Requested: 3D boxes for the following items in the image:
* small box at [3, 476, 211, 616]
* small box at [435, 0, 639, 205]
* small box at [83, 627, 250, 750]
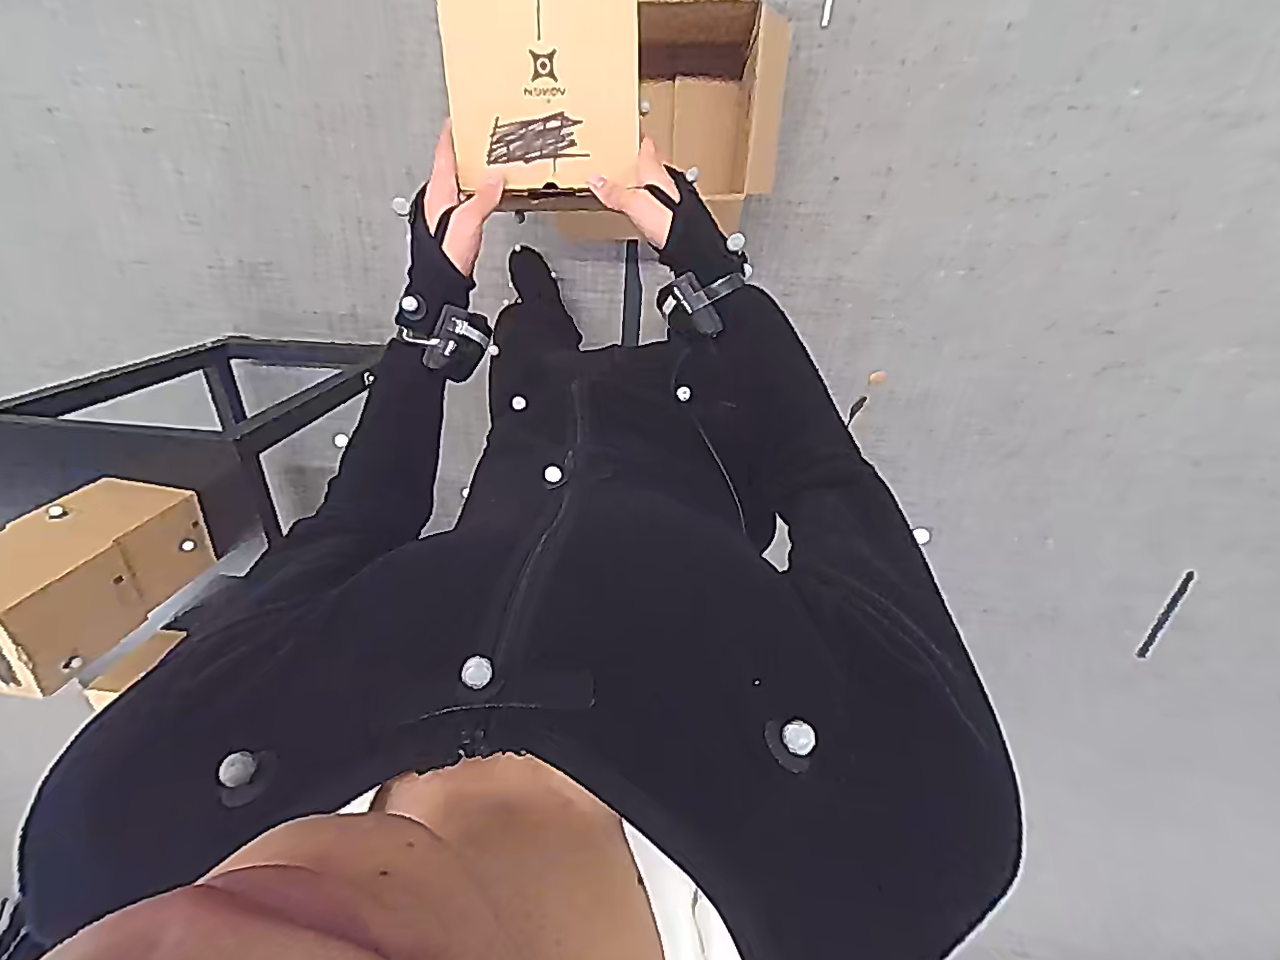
[{"bbox_3d":[-0.919,0.109,0.954,0.179,0.176,0.168,9,119,1],"label":"small box"},{"bbox_3d":[-0.086,-0.371,0.527,0.168,0.176,0.179,-2,111,-3],"label":"small box"},{"bbox_3d":[-0.975,0.430,1.133,0.179,0.176,0.168,4,118,3],"label":"small box"}]
